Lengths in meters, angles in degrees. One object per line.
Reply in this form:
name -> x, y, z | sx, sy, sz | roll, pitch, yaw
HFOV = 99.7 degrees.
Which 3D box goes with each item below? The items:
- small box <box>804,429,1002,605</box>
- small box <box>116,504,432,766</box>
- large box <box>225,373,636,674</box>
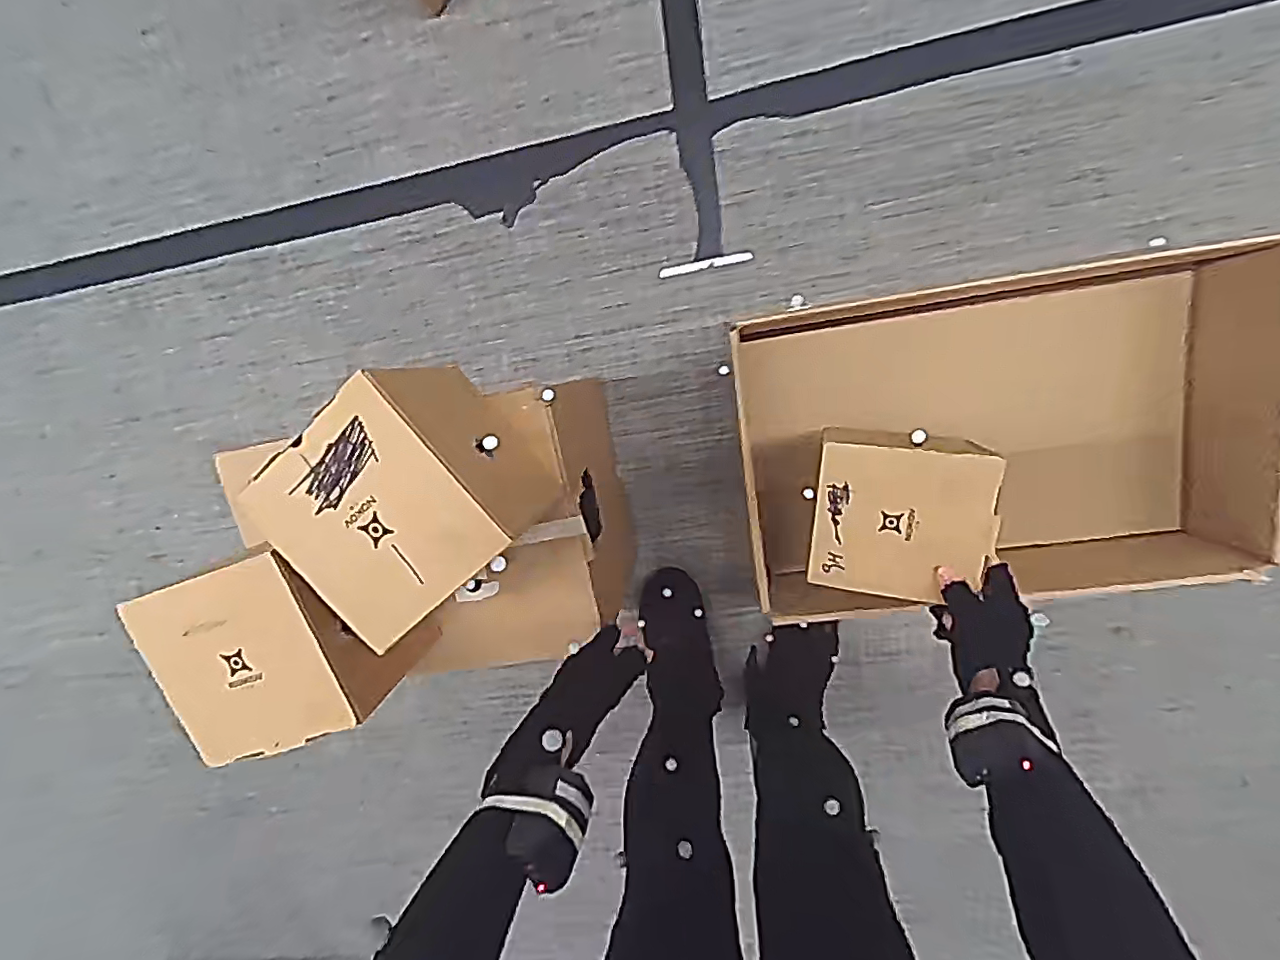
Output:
small box -> 0.296, 0.030, 0.650 | 0.179, 0.176, 0.168 | 6, 102, 17
small box -> -0.345, 0.144, 0.549 | 0.168, 0.176, 0.179 | -19, 99, 8
large box -> -0.243, 0.045, 0.766 | 0.408, 0.320, 0.320 | -11, 102, 8
